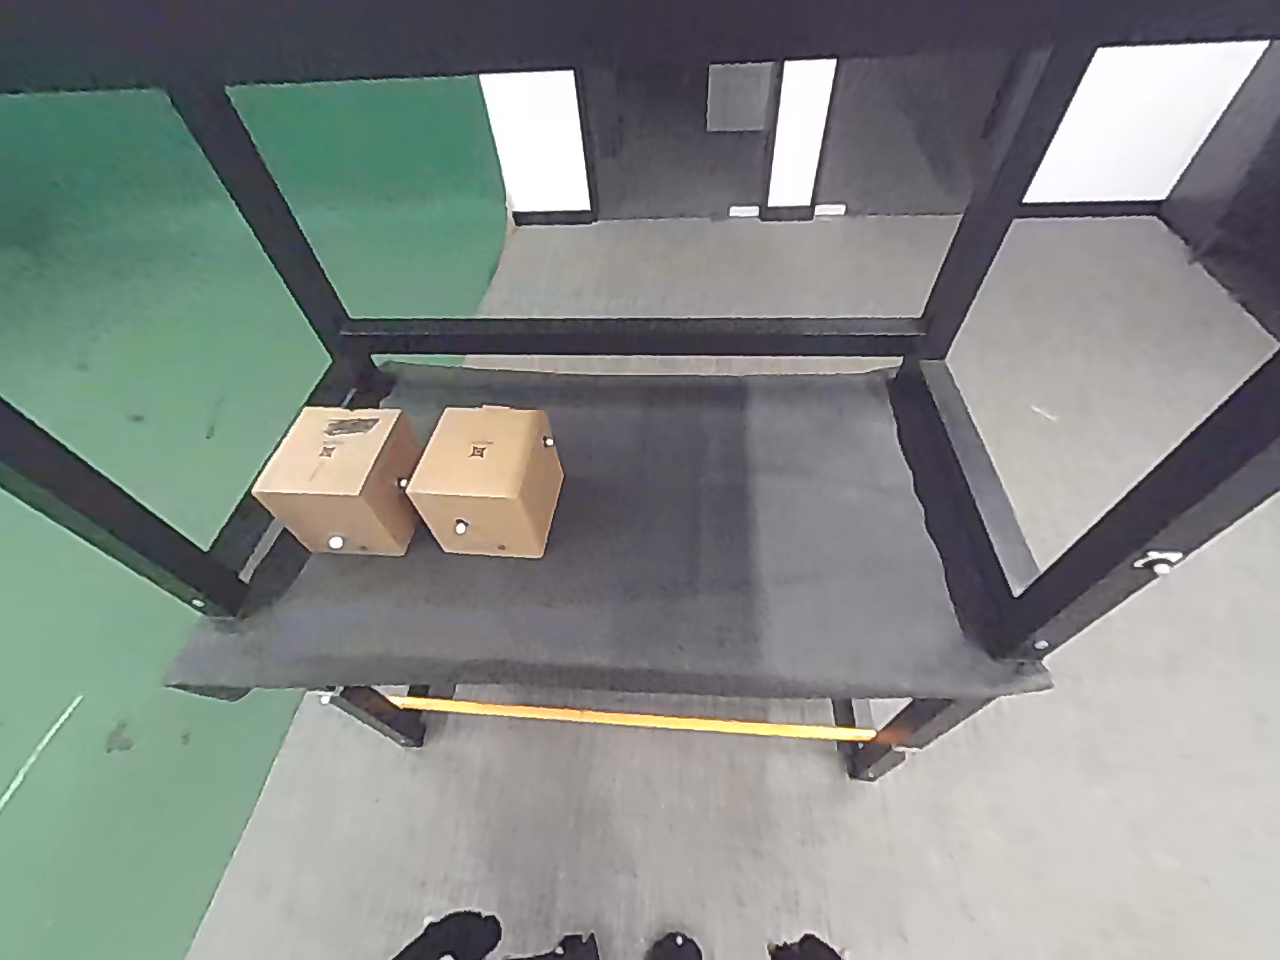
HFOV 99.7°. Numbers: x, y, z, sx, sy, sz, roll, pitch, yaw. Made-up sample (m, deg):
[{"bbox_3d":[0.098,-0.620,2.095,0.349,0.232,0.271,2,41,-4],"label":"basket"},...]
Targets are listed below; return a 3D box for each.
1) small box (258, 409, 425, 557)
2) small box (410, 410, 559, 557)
[{"bbox_3d":[-0.461,0.005,0.885,0.168,0.176,0.179,2,51,5],"label":"small box"},{"bbox_3d":[-0.234,0.008,0.872,0.168,0.176,0.179,3,51,6],"label":"small box"}]
